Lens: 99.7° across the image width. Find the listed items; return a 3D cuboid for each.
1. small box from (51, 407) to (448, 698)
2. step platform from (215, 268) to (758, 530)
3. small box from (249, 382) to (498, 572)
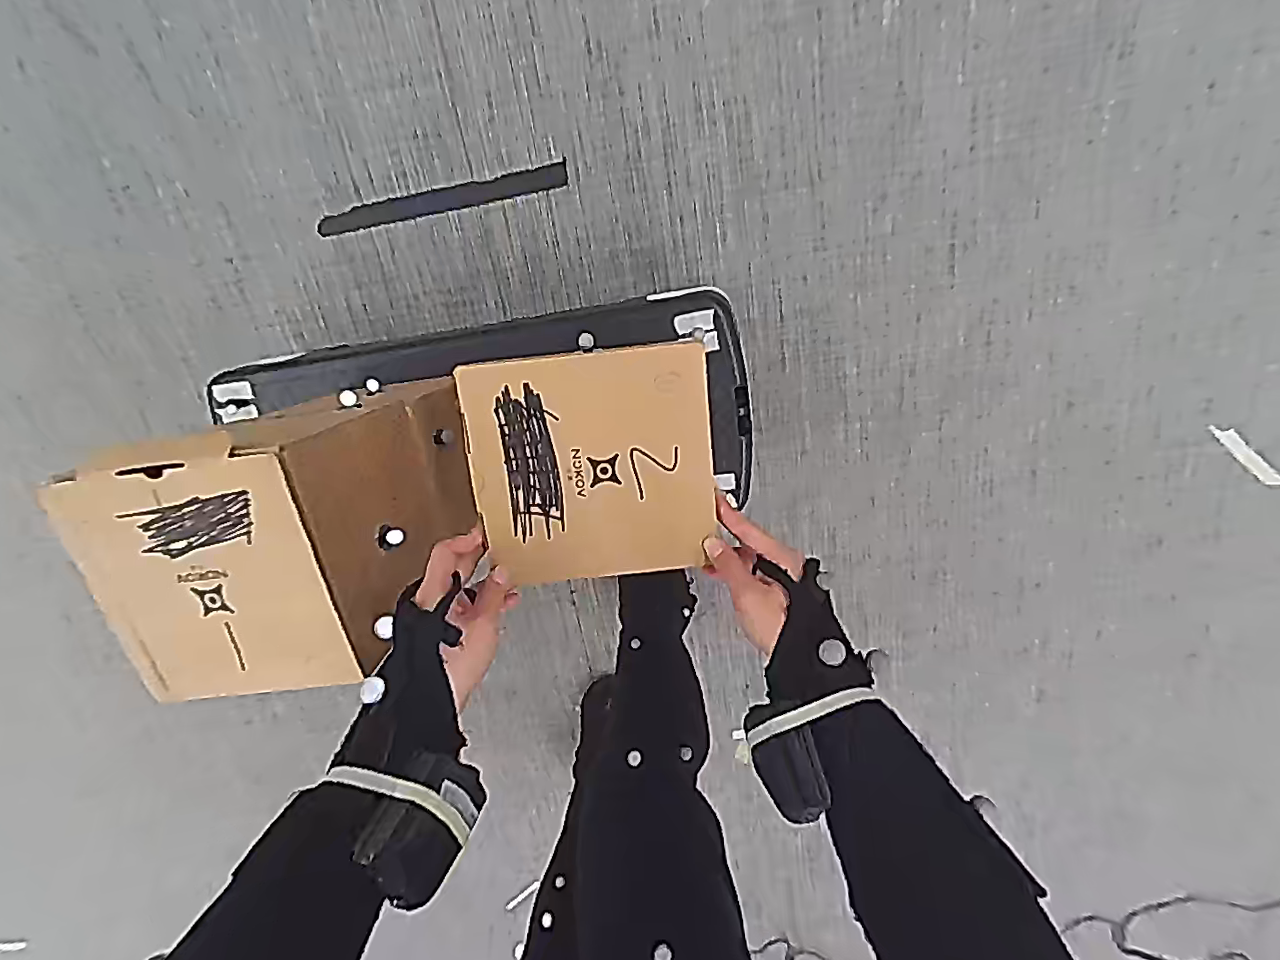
[{"bbox_3d":[-0.279,0.043,0.438,0.168,0.176,0.179,-7,109,5],"label":"small box"},{"bbox_3d":[-0.186,-0.092,0.746,0.684,0.204,0.286,-8,108,5],"label":"step platform"},{"bbox_3d":[-0.271,-0.008,0.595,0.168,0.176,0.179,-6,109,4],"label":"small box"}]
